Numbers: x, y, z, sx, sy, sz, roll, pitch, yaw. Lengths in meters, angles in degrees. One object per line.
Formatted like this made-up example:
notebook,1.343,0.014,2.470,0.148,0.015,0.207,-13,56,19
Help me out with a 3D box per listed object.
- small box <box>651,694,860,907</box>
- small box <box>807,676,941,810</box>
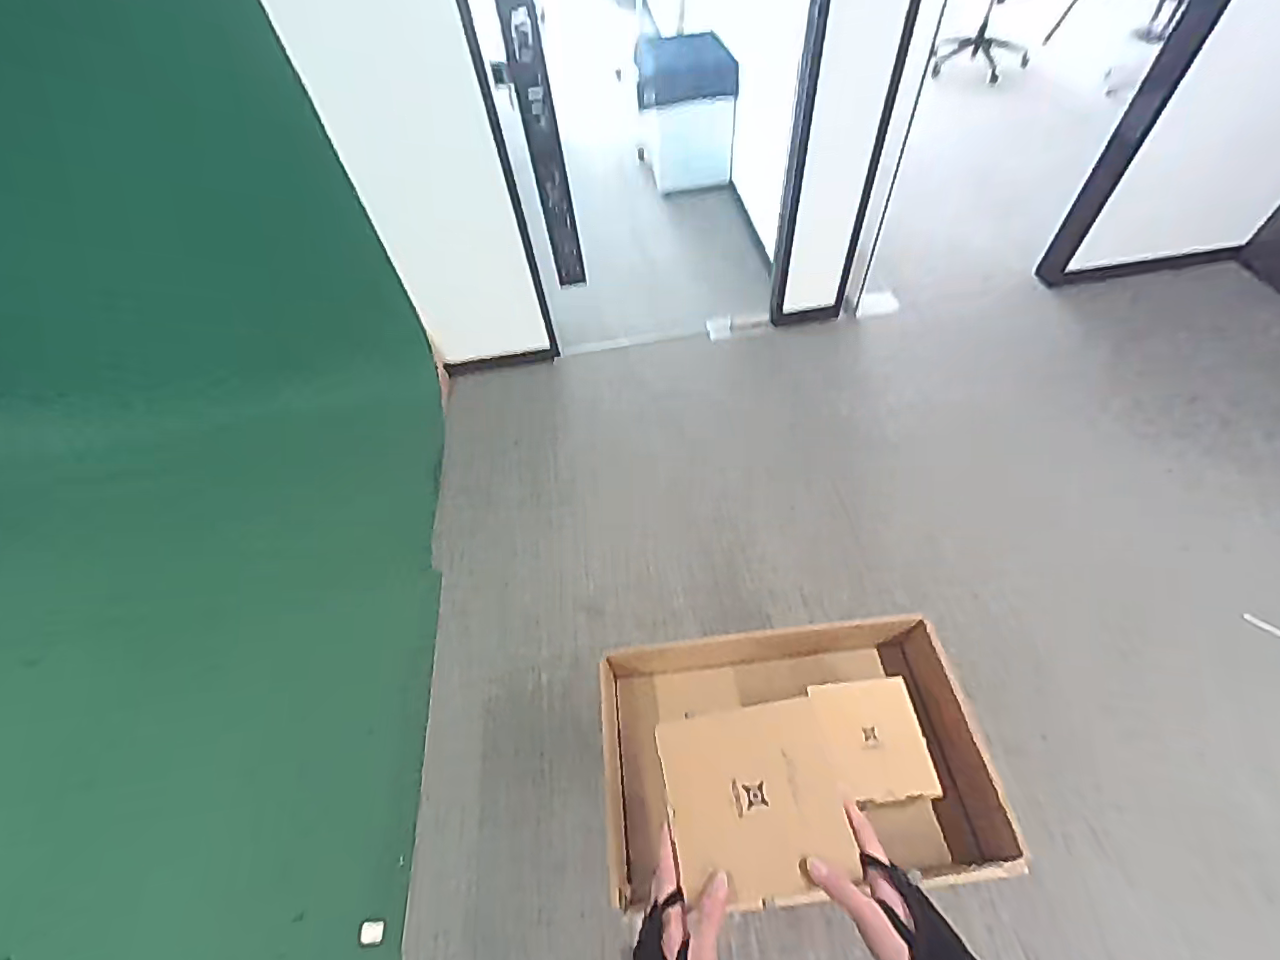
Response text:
small box,0.116,0.353,0.608,0.179,0.176,0.168,-10,60,-1
small box,0.372,0.456,0.929,0.168,0.176,0.179,-6,54,0
